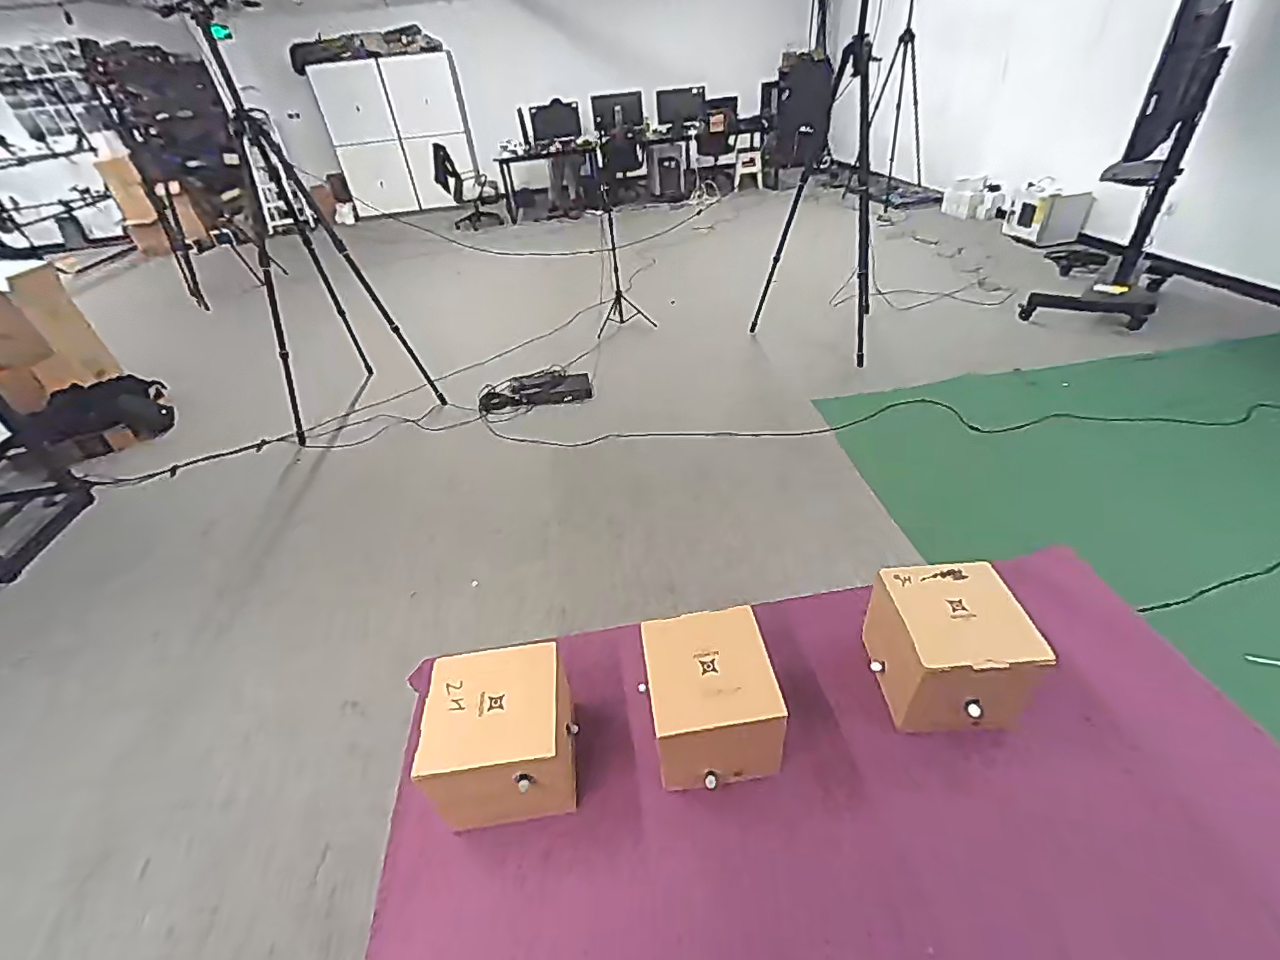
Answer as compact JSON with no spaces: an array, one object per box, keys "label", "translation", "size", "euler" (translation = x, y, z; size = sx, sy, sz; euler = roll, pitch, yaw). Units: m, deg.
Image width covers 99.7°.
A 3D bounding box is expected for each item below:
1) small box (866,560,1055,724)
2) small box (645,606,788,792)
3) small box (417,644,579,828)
[{"label":"small box","translation":[0.451,0.243,0.796],"size":[0.168,0.176,0.179],"euler":[-4,38,3]},{"label":"small box","translation":[0.102,0.311,0.774],"size":[0.168,0.176,0.179],"euler":[-9,38,-1]},{"label":"small box","translation":[-0.181,0.359,0.759],"size":[0.179,0.176,0.168],"euler":[-8,37,-1]}]
